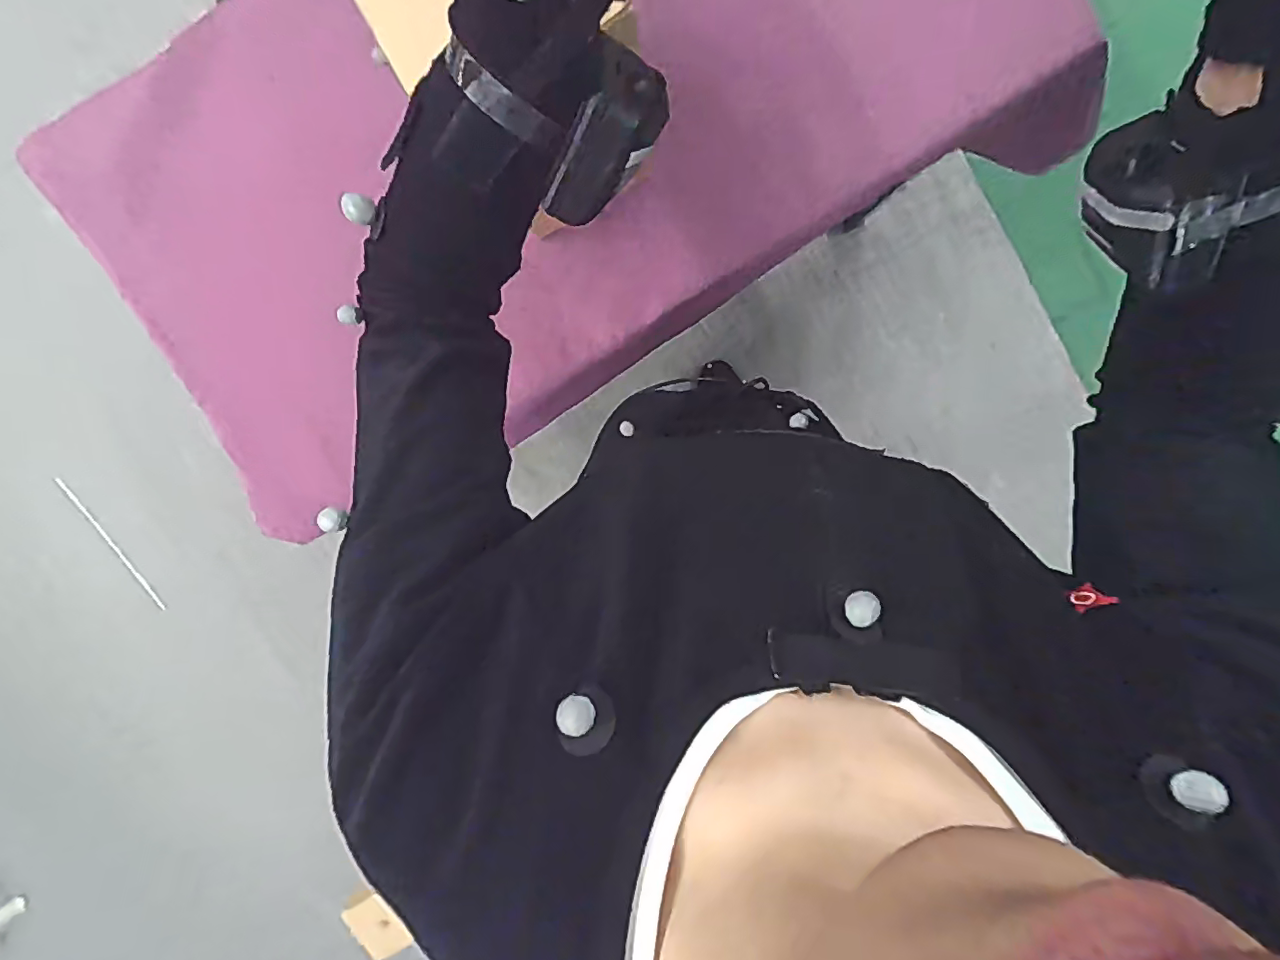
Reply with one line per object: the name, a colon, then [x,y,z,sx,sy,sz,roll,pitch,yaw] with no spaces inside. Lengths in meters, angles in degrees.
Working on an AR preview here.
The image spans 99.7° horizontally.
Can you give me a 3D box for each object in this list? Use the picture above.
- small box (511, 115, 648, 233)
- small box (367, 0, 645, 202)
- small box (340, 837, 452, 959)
small box: [-0.102,-0.413,0.603,0.168,0.176,0.179,-27,97,8]
small box: [-0.108,-0.372,0.444,0.168,0.176,0.179,-28,96,8]
small box: [-0.641,1.110,1.443,0.179,0.176,0.168,-32,96,8]
